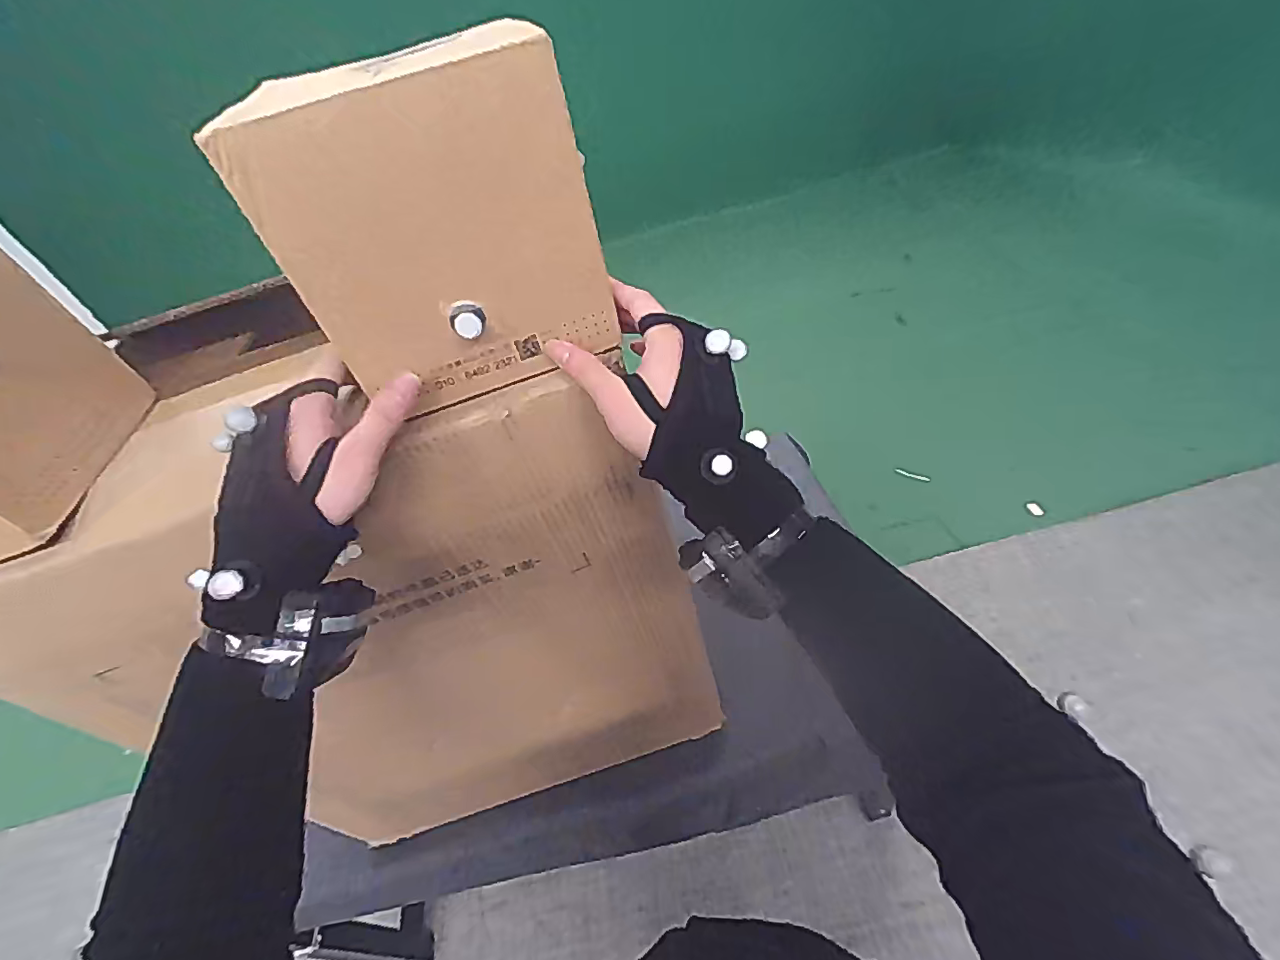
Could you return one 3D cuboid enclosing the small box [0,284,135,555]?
[{"bbox_3d":[-0.493,-0.042,0.344,0.168,0.176,0.179,-19,45,0],"label":"small box"}]

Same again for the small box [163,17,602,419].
[{"bbox_3d":[-0.136,-0.170,0.352,0.168,0.176,0.179,-20,45,-3],"label":"small box"}]
